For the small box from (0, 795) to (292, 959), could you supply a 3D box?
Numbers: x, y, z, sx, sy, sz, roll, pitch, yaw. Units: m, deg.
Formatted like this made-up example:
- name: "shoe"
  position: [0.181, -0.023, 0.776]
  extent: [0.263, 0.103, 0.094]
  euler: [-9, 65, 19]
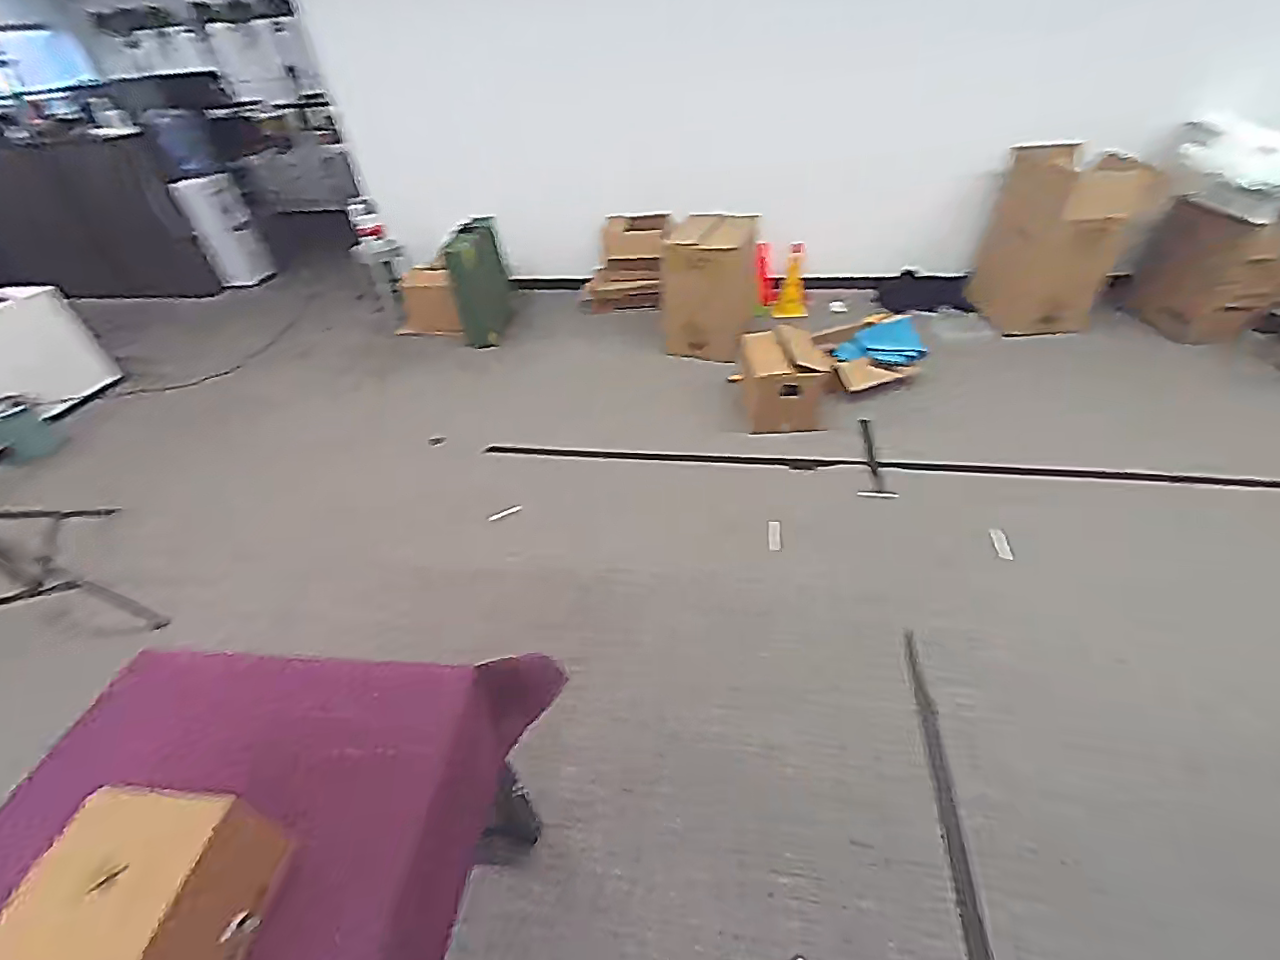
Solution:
- name: "small box"
  position: [-0.551, 0.481, 0.613]
  extent: [0.179, 0.176, 0.168]
  euler: [0, 42, 5]
